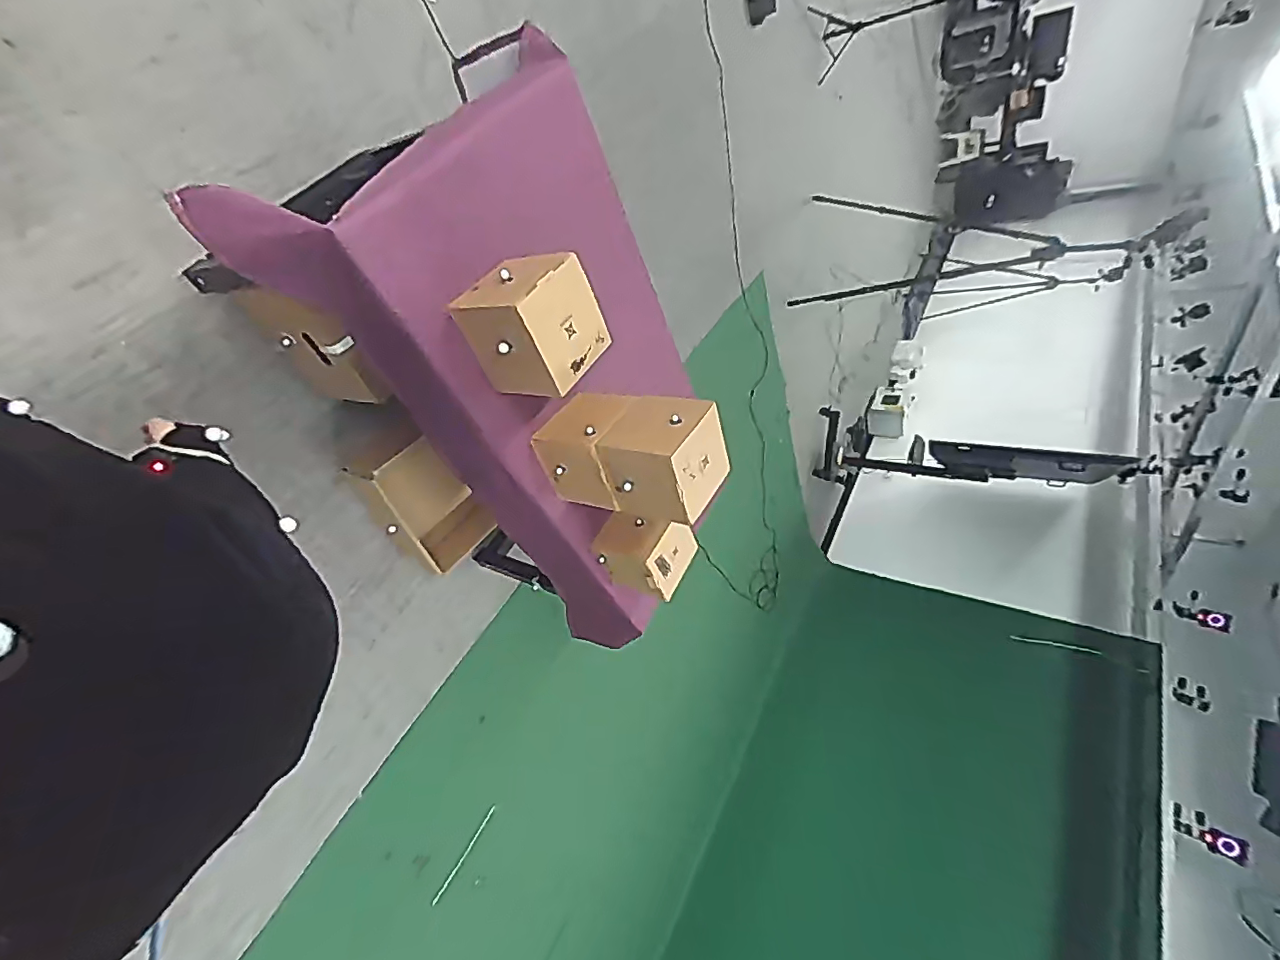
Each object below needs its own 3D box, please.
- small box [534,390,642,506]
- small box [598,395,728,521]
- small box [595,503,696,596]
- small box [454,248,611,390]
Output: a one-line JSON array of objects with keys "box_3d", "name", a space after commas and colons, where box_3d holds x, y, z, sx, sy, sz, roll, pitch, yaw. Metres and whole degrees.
[{"box_3d": [-0.090, -0.074, 1.136, 0.179, 0.176, 0.168, -50, 136, -33], "name": "small box"}, {"box_3d": [0.047, -0.051, 1.047, 0.179, 0.176, 0.168, -49, 136, -34], "name": "small box"}, {"box_3d": [0.009, 0.154, 1.339, 0.179, 0.176, 0.168, -55, 139, -31], "name": "small box"}, {"box_3d": [-0.185, -0.275, 0.938, 0.168, 0.176, 0.179, -54, 138, -30], "name": "small box"}]
